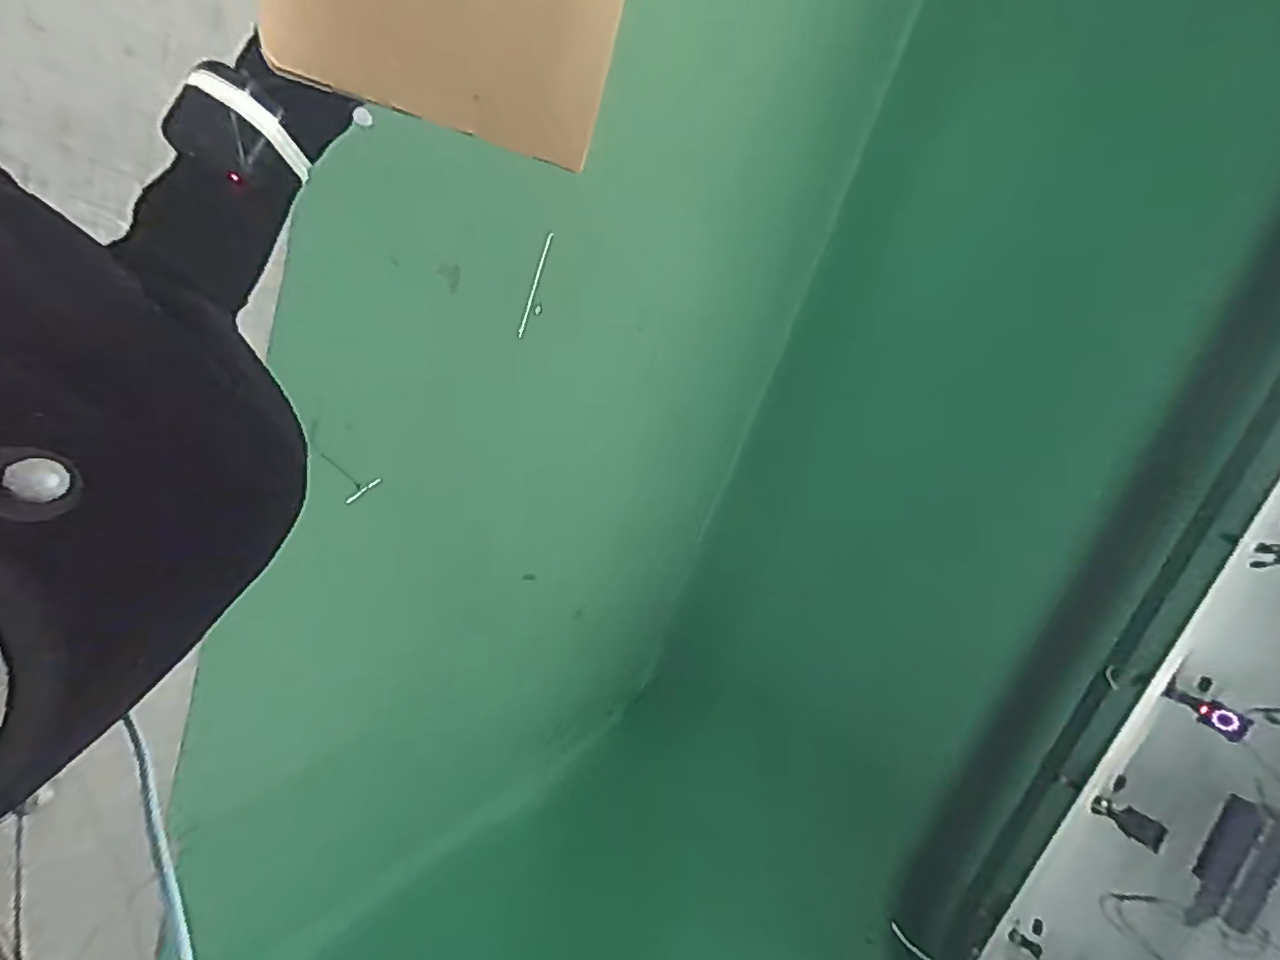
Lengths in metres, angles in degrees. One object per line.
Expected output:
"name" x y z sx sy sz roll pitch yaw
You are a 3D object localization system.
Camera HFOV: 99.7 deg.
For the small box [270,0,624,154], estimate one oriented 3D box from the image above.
"small box" -0.085 -0.313 0.282 0.176 0.168 0.179 117 -22 -45
